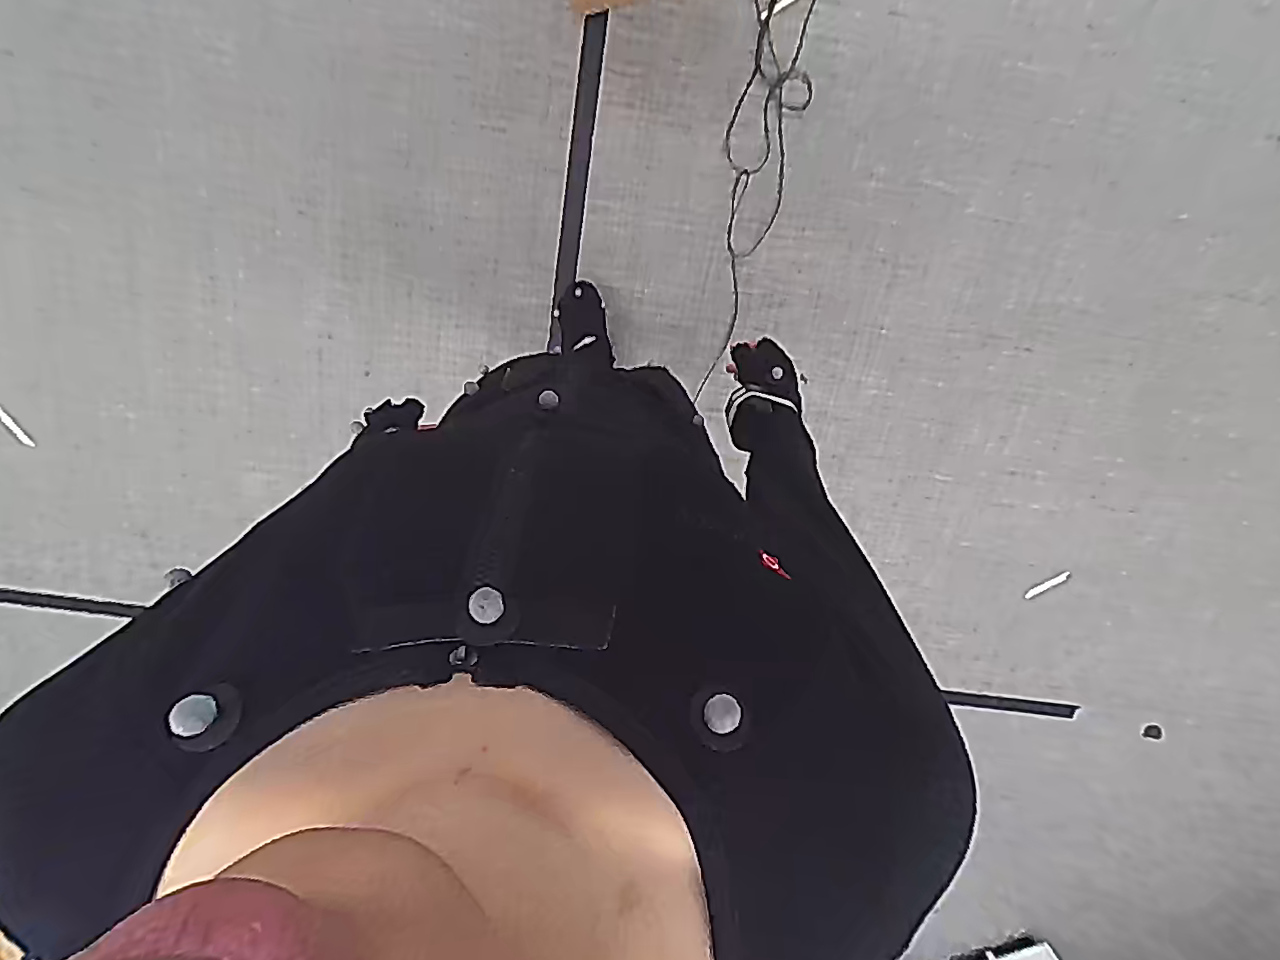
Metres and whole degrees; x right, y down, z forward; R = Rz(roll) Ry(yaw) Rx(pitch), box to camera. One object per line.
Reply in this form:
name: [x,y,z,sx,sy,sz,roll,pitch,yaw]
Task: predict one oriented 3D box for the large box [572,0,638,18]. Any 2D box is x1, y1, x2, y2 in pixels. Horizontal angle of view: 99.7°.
large box: [0.010,-1.175,1.008,0.408,0.320,0.320,-15,105,3]
